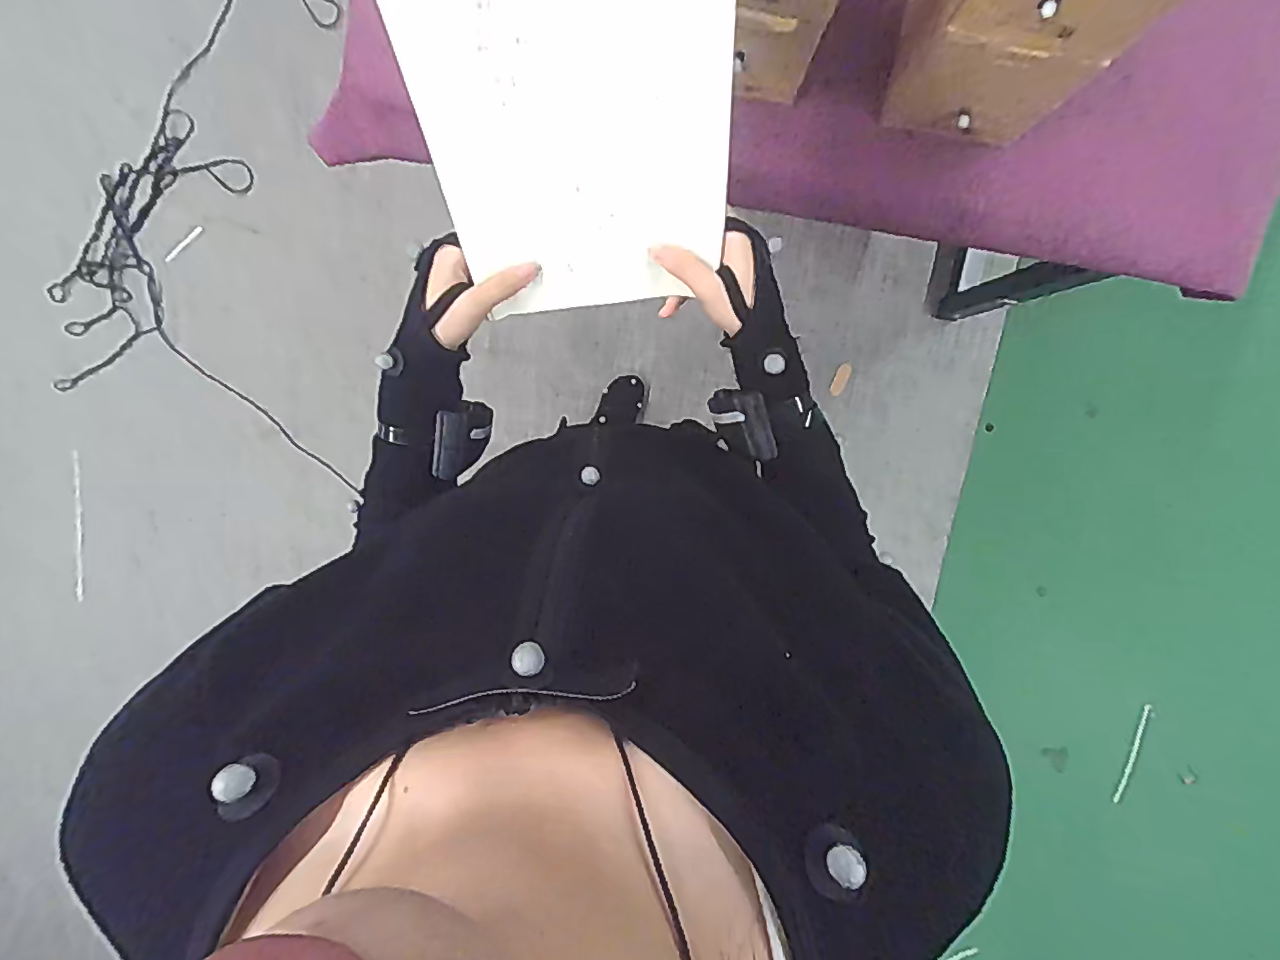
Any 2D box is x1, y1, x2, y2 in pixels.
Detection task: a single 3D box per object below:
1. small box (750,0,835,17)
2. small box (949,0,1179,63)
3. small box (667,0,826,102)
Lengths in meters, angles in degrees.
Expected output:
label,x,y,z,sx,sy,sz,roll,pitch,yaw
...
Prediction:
label,x,y,z,sx,sy,sz,roll,pitch,yaw
small box,0.120,-0.542,0.449,0.168,0.176,0.179,11,98,1
small box,0.390,-0.499,0.443,0.168,0.176,0.179,12,98,1
small box,0.129,-0.571,0.611,0.168,0.176,0.179,11,99,1
